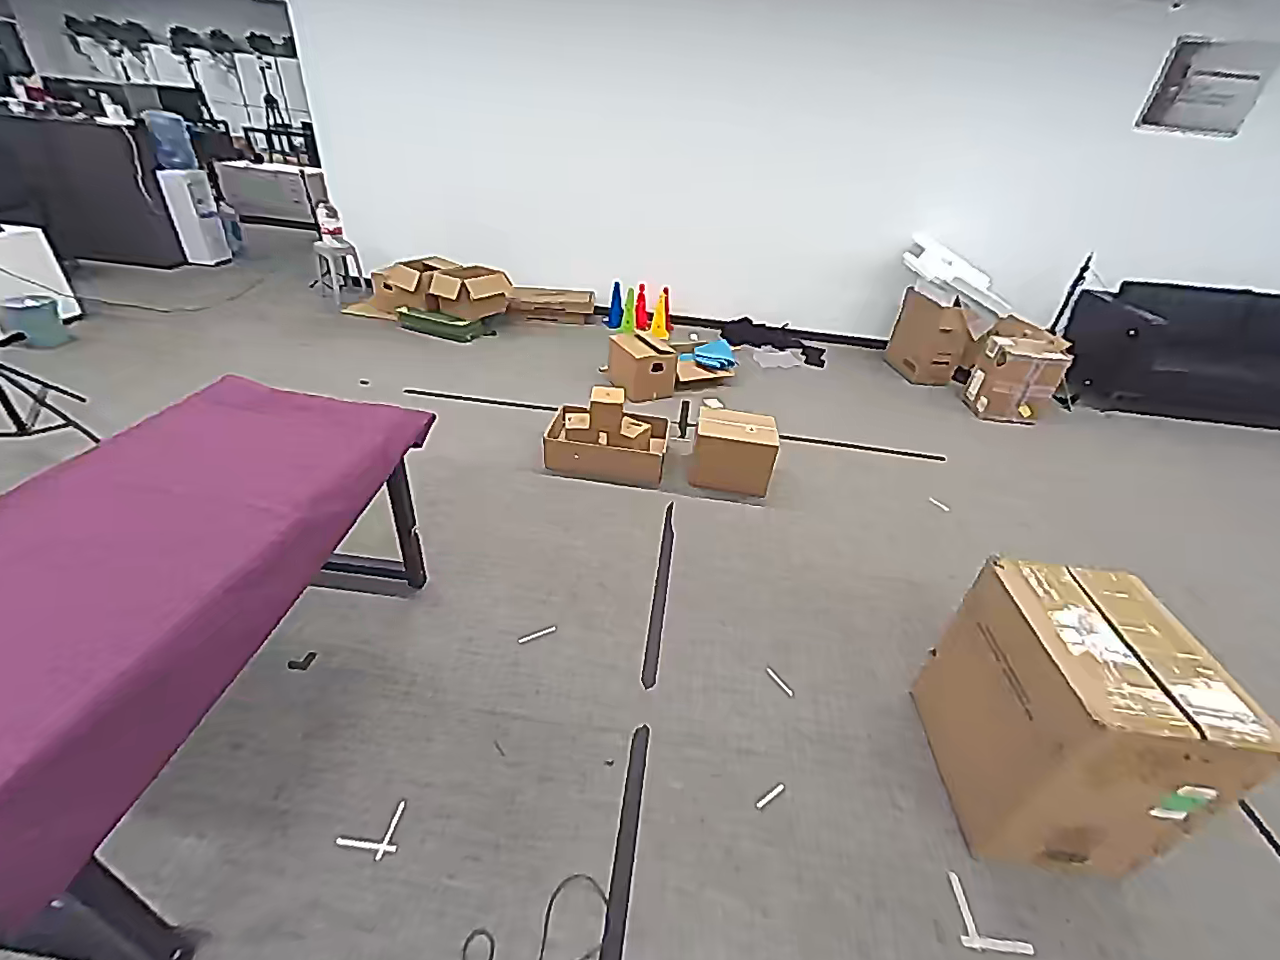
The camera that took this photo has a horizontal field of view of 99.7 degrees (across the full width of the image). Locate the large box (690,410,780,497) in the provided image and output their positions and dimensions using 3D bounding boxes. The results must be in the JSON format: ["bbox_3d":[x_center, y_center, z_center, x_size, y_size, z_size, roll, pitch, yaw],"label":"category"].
[{"bbox_3d":[0.482,-0.141,2.817,0.408,0.320,0.320,9,35,2],"label":"large box"}]

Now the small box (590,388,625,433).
[{"bbox_3d":[-0.166,-0.353,2.770,0.168,0.176,0.179,5,33,-4],"label":"small box"}]
